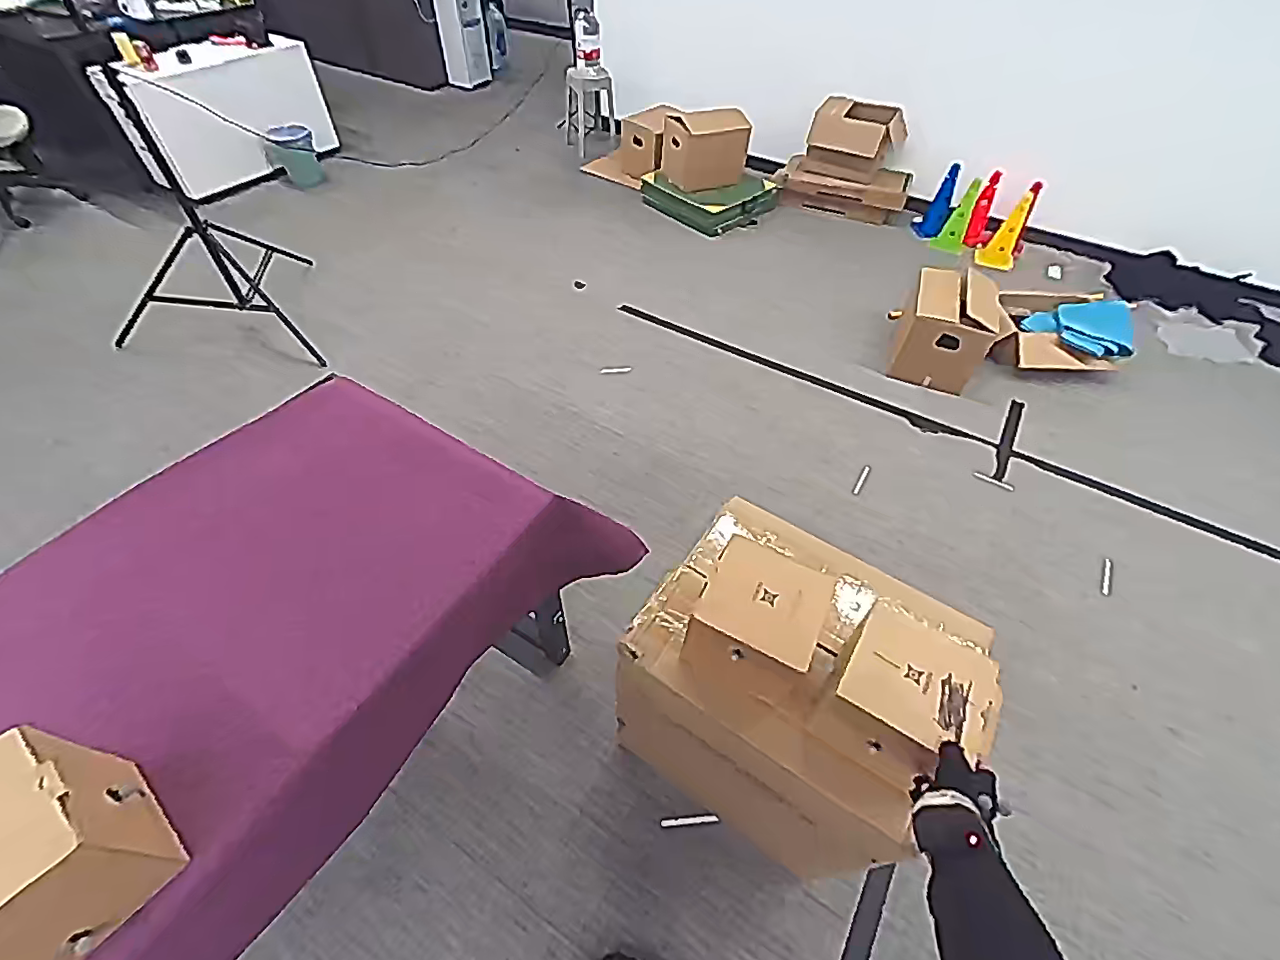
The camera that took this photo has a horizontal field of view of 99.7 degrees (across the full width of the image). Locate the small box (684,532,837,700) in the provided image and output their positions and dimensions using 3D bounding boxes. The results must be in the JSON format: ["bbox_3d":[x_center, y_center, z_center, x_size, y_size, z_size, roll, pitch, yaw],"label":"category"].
[{"bbox_3d":[0.182,0.220,0.858,0.179,0.176,0.168,25,55,16],"label":"small box"}]

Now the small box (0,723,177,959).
[{"bbox_3d":[-0.623,0.391,0.545,0.168,0.176,0.179,32,55,23],"label":"small box"}]

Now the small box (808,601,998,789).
[{"bbox_3d":[0.371,0.315,0.783,0.179,0.176,0.168,27,54,21],"label":"small box"}]
